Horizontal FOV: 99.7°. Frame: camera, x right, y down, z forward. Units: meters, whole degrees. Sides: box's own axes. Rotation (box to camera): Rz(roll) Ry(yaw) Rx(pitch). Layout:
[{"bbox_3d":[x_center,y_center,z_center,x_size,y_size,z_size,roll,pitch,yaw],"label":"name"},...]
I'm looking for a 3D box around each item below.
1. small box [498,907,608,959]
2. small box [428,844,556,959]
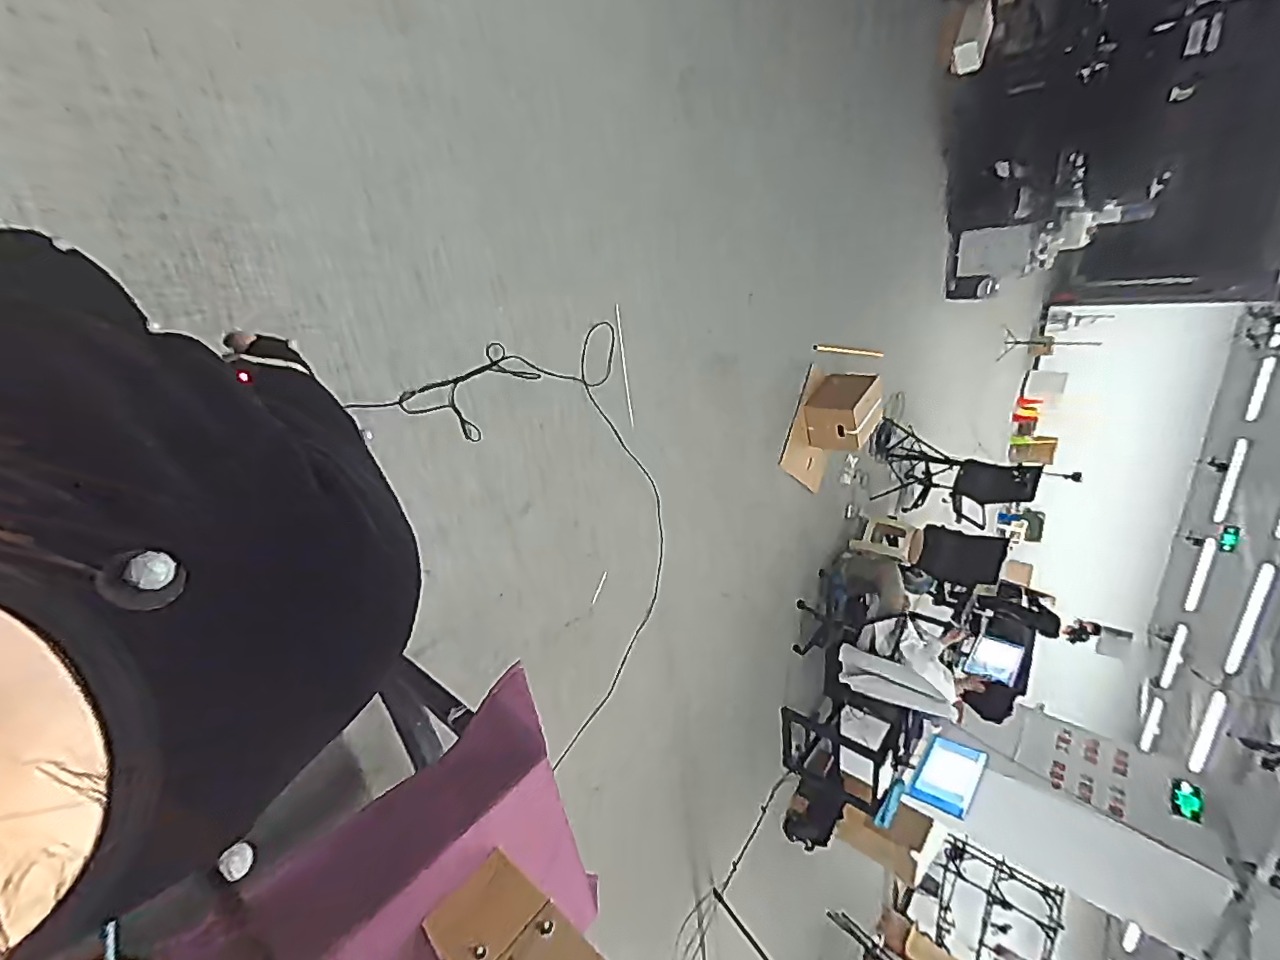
[{"bbox_3d":[-0.147,0.886,0.919,0.168,0.176,0.179,-29,122,-39],"label":"small box"},{"bbox_3d":[-0.268,0.851,1.026,0.179,0.176,0.168,-28,121,-39],"label":"small box"}]
